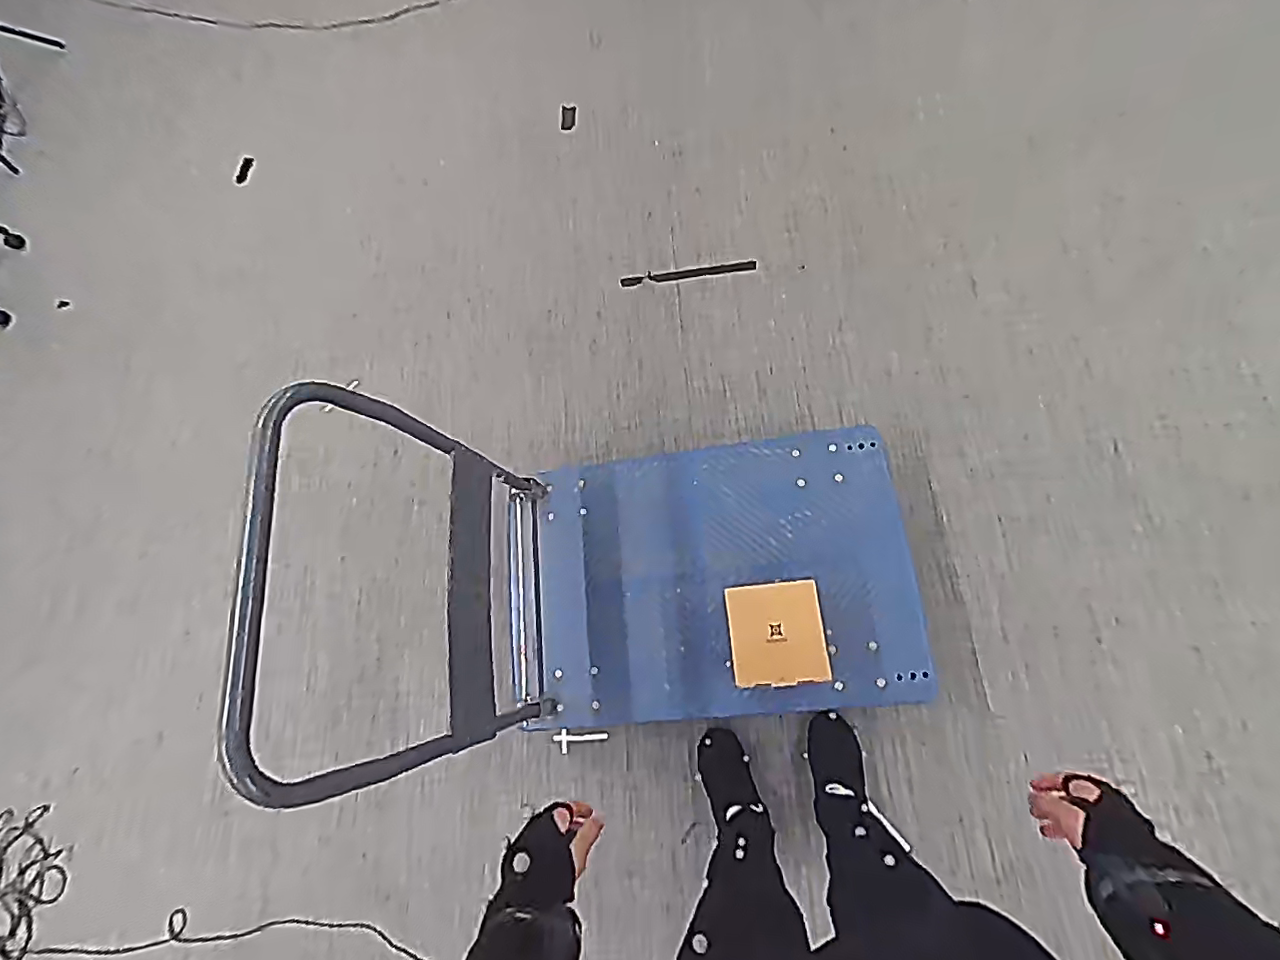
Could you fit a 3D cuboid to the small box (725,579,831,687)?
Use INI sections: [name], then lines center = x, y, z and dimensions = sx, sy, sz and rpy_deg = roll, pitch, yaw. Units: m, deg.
[small box]
center = 0.255, 0.294, 1.038
dimensions = 0.168, 0.176, 0.179
rpy_deg = -8, 73, 9
